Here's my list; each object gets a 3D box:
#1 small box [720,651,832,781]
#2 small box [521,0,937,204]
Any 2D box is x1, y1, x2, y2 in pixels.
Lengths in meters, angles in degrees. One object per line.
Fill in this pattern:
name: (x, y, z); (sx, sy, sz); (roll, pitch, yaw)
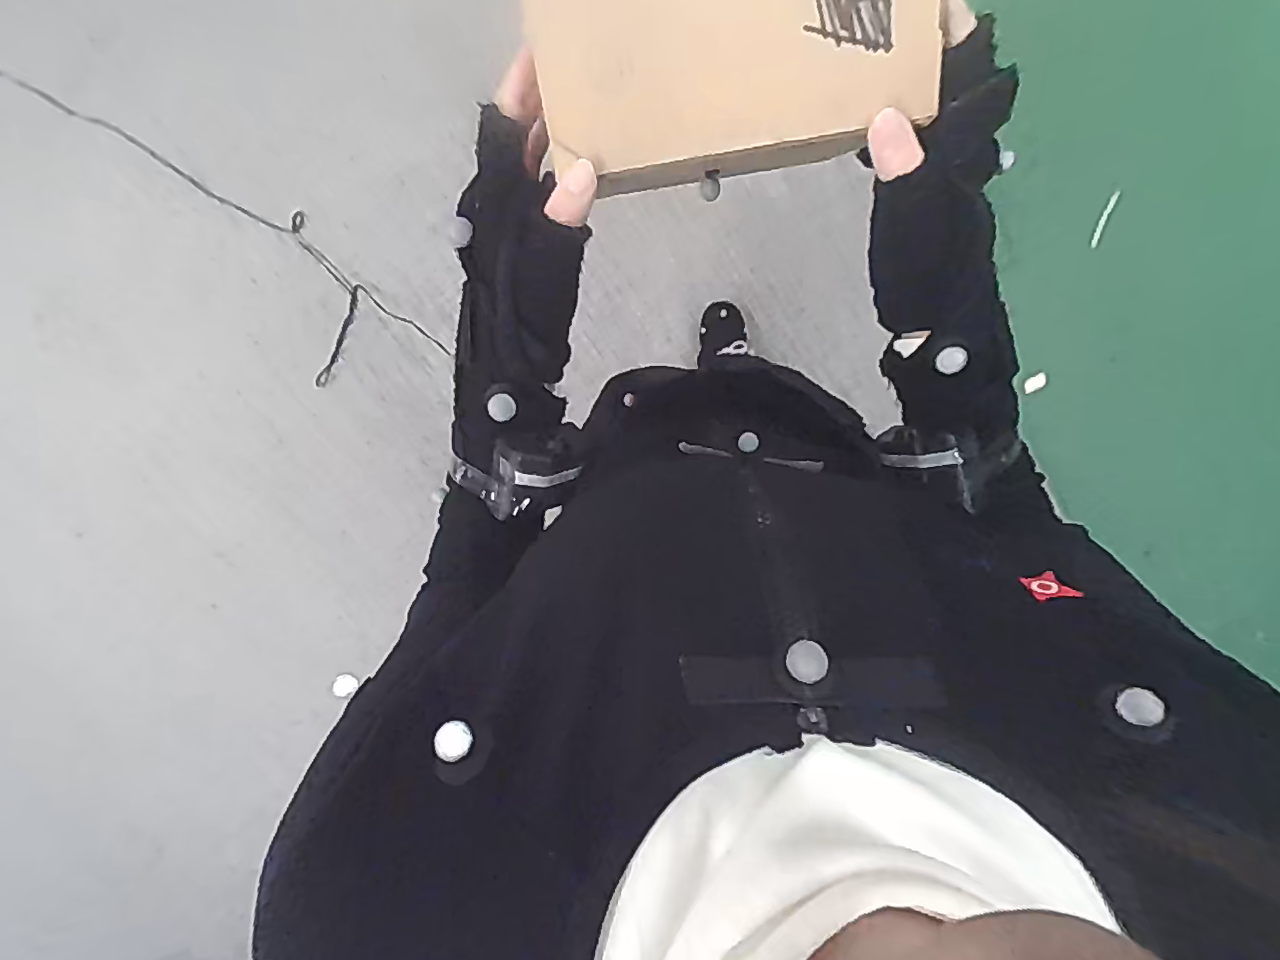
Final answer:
small box: (0.285, 0.499, 1.176); (0.168, 0.176, 0.179); (-29, 101, 11)
small box: (0.035, -0.254, 0.291); (0.179, 0.176, 0.168); (-8, 115, 5)
